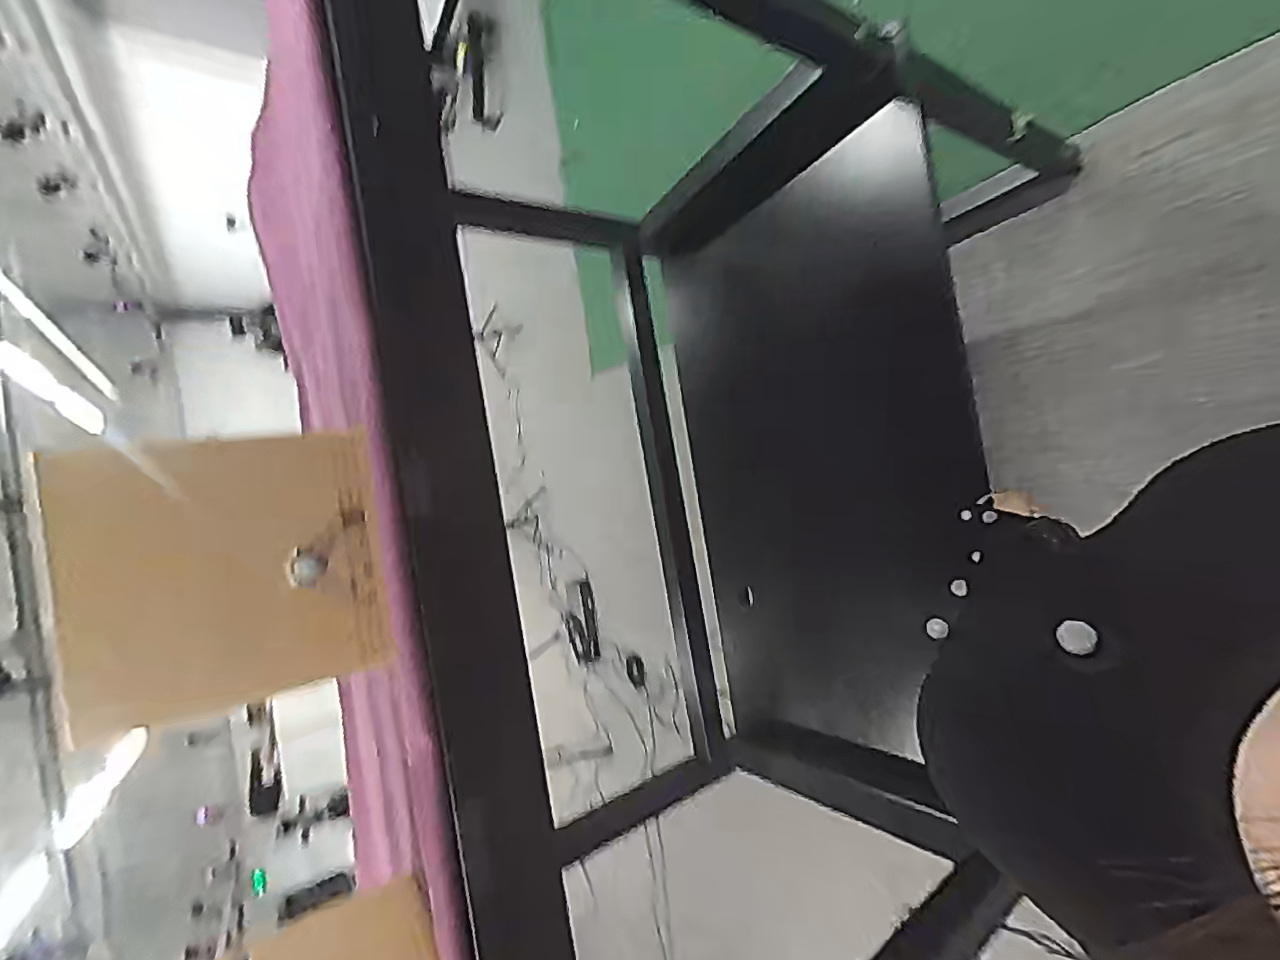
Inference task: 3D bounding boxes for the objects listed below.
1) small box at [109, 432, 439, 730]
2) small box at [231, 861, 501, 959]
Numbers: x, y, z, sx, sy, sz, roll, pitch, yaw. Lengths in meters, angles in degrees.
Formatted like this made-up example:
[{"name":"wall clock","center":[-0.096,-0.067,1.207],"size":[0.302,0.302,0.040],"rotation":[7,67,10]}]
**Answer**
[{"name":"small box","center":[-0.268,0.061,0.421],"size":[0.179,0.176,0.168],"rotation":[-11,89,55]},{"name":"small box","center":[-0.194,0.426,0.396],"size":[0.179,0.176,0.168],"rotation":[-12,87,57]}]
